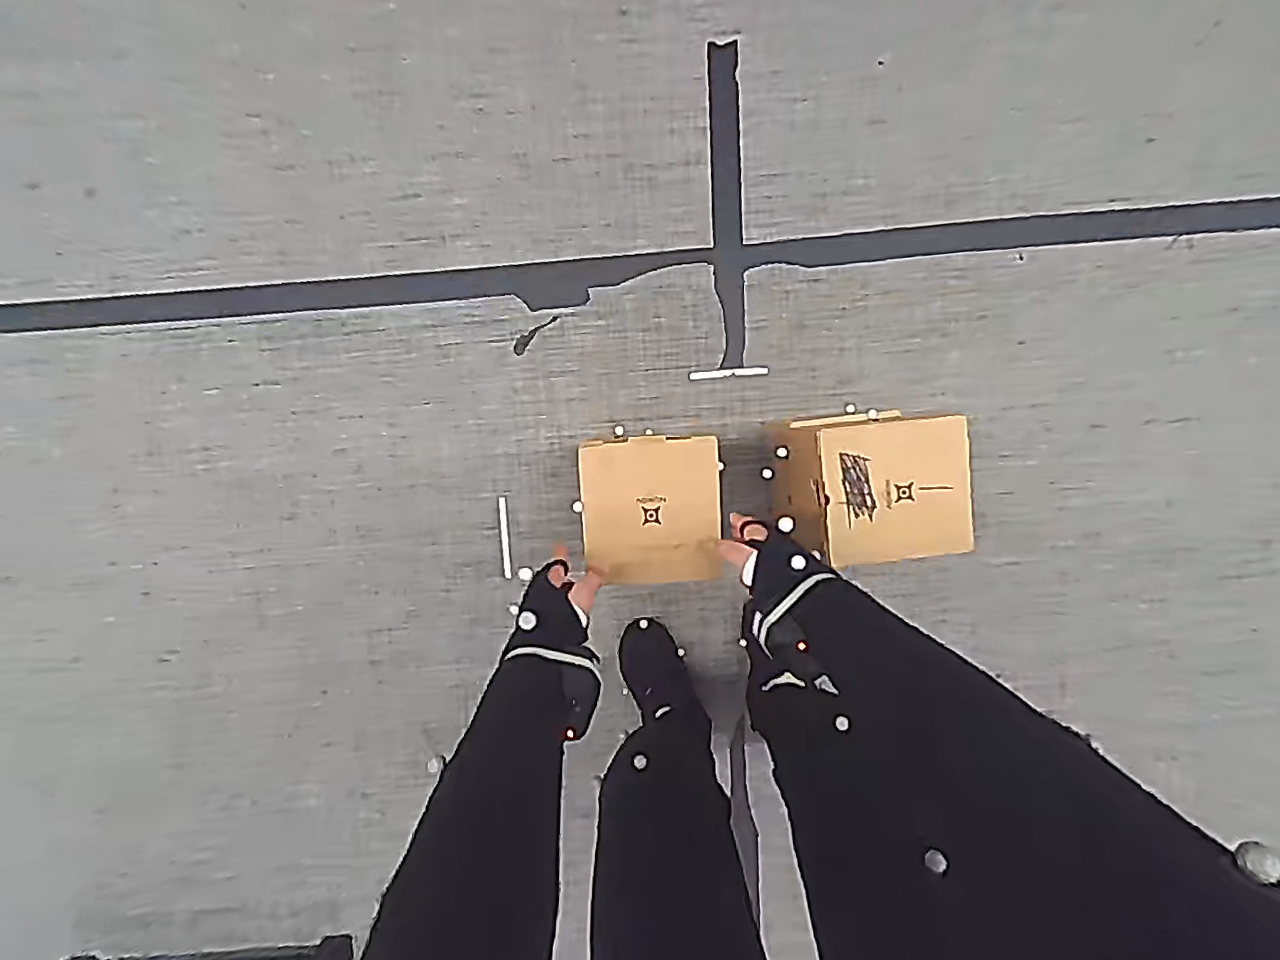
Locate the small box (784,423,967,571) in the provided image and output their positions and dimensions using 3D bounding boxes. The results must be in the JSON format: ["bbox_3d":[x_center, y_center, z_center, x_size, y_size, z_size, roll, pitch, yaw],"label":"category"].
[{"bbox_3d":[0.298,0.016,0.721,0.179,0.176,0.168,-6,95,0],"label":"small box"}]

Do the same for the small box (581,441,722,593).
[{"bbox_3d":[0.015,0.039,0.724,0.168,0.176,0.179,-3,97,2],"label":"small box"}]

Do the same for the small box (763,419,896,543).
[{"bbox_3d":[0.305,-0.005,0.885,0.168,0.176,0.179,-6,96,1],"label":"small box"}]
